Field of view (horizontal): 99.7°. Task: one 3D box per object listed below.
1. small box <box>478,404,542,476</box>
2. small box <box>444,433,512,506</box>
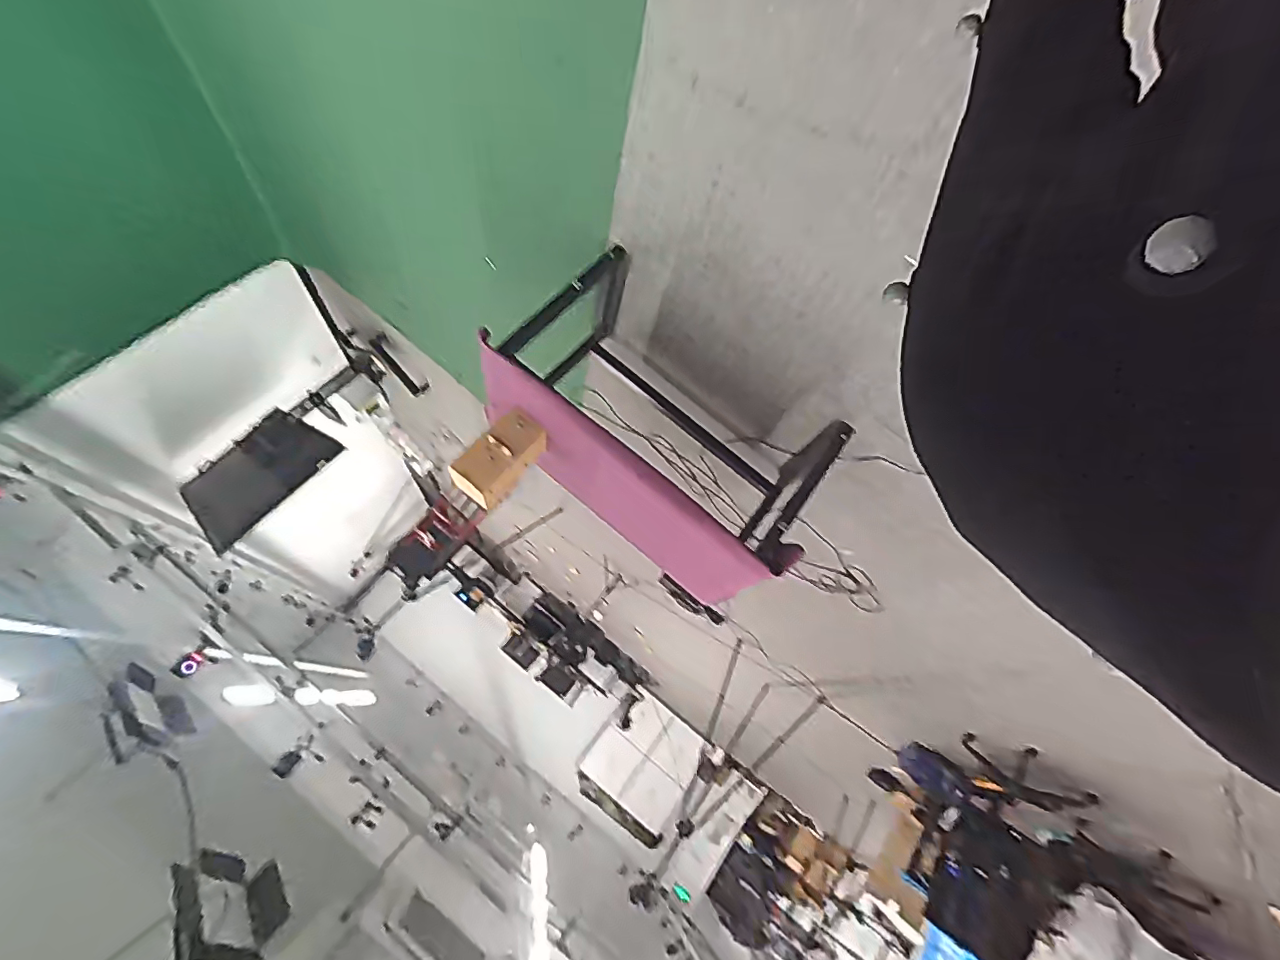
[{"bbox_3d":[-0.485,-0.152,2.040,0.168,0.176,0.179,37,156,6],"label":"small box"},{"bbox_3d":[-0.585,-0.038,1.979,0.168,0.176,0.179,38,156,6],"label":"small box"}]
